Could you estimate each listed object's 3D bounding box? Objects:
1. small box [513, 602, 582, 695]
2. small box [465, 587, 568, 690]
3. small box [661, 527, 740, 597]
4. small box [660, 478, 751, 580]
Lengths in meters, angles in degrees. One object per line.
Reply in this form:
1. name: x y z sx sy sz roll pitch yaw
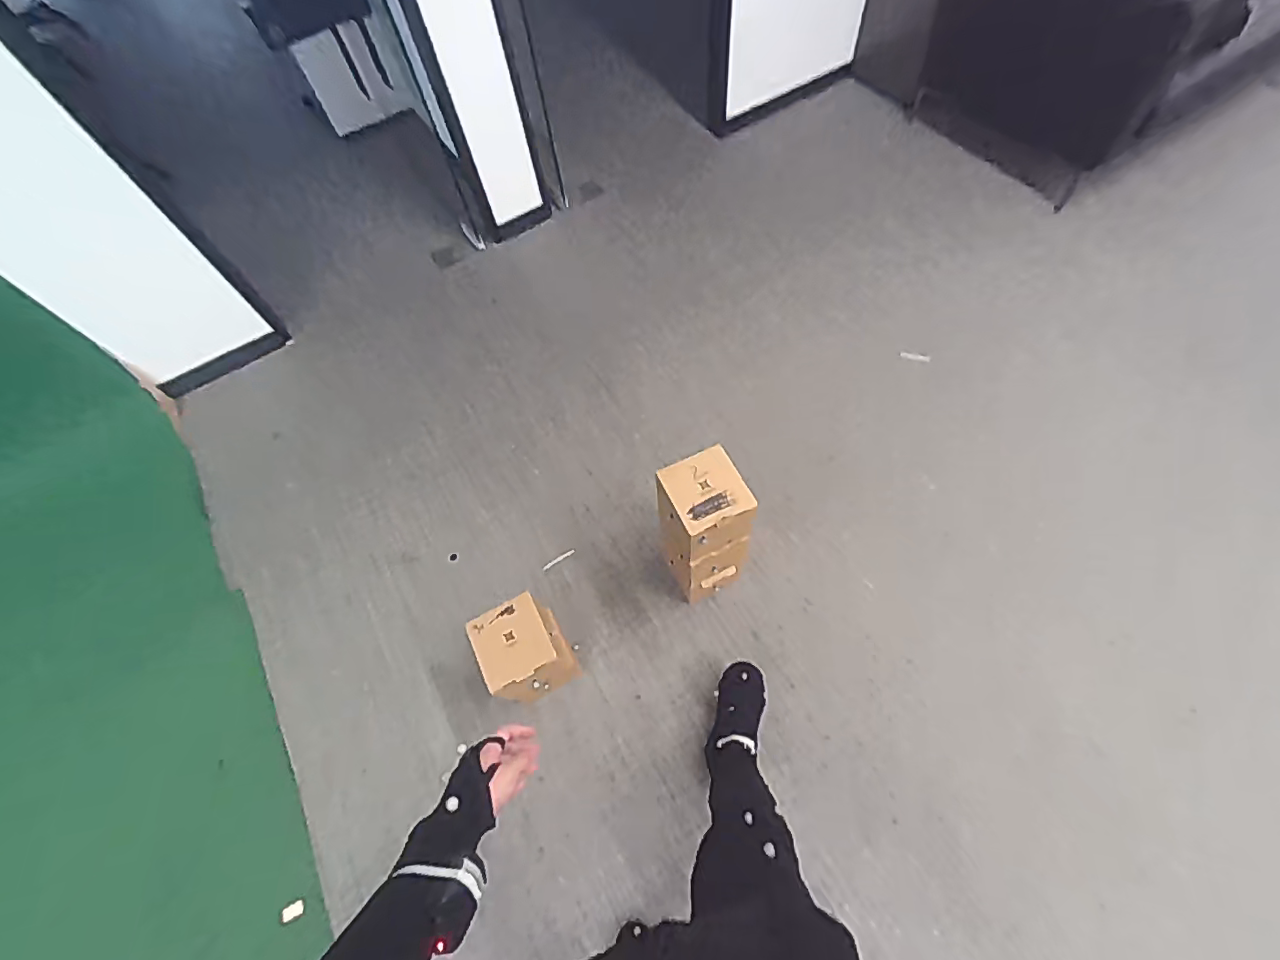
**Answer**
1. small box: -0.272 0.454 1.439 0.179 0.176 0.168 -26 64 -9
2. small box: -0.287 0.386 1.291 0.168 0.176 0.179 -26 65 -8
3. small box: 0.168 0.209 1.525 0.168 0.176 0.179 -21 64 -4
4. small box: 0.161 0.130 1.385 0.168 0.176 0.179 -25 64 -8
